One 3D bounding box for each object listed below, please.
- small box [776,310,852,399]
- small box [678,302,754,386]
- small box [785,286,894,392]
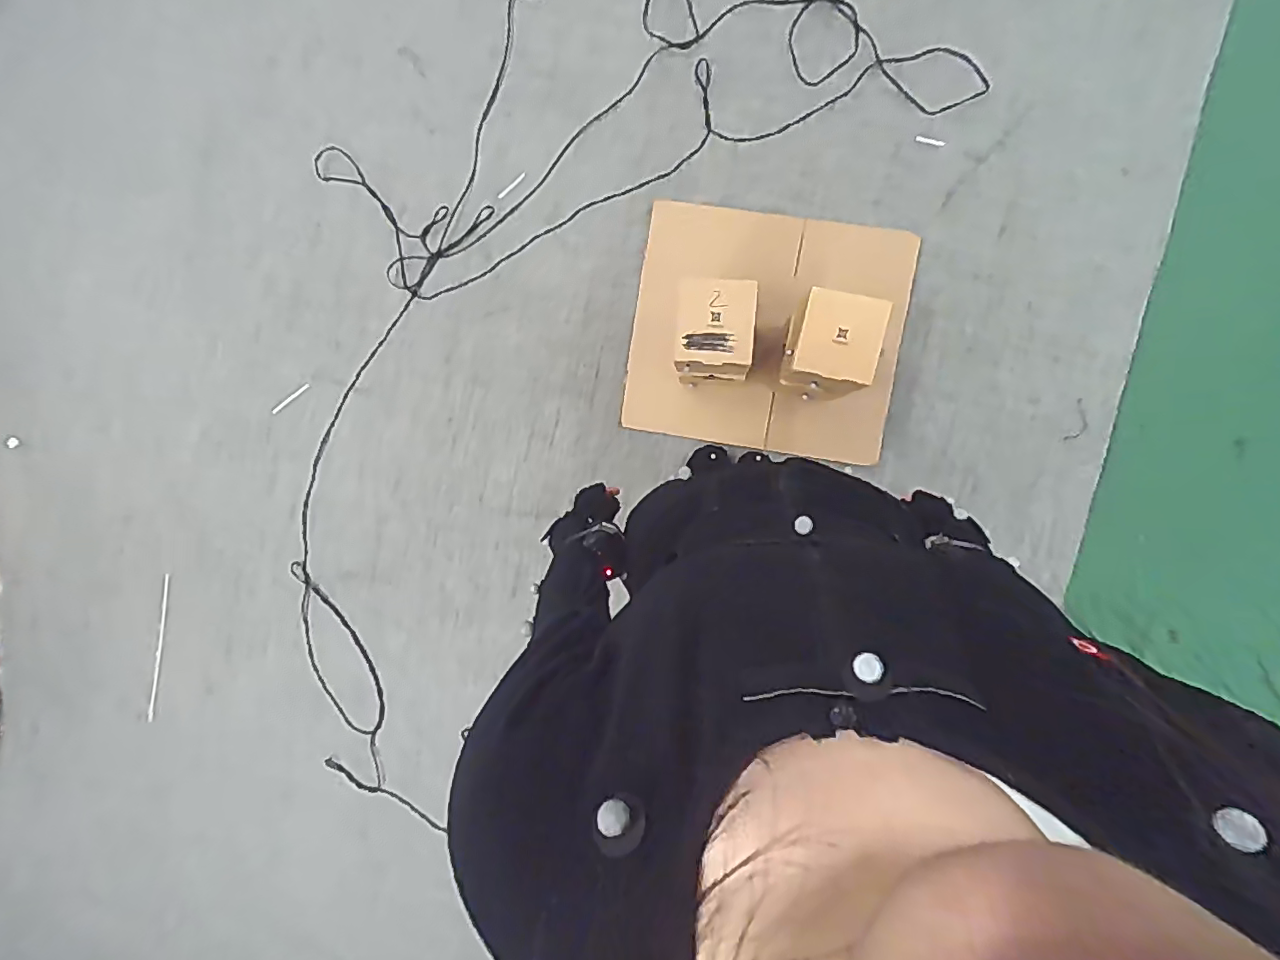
[{"bbox_3d":[0.437,-0.303,1.335,0.168,0.176,0.179,10,95,7],"label":"small box"},{"bbox_3d":[0.190,-0.334,1.358,0.168,0.176,0.179,5,94,6],"label":"small box"},{"bbox_3d":[0.422,-0.299,1.173,0.168,0.176,0.179,13,96,6],"label":"small box"}]
